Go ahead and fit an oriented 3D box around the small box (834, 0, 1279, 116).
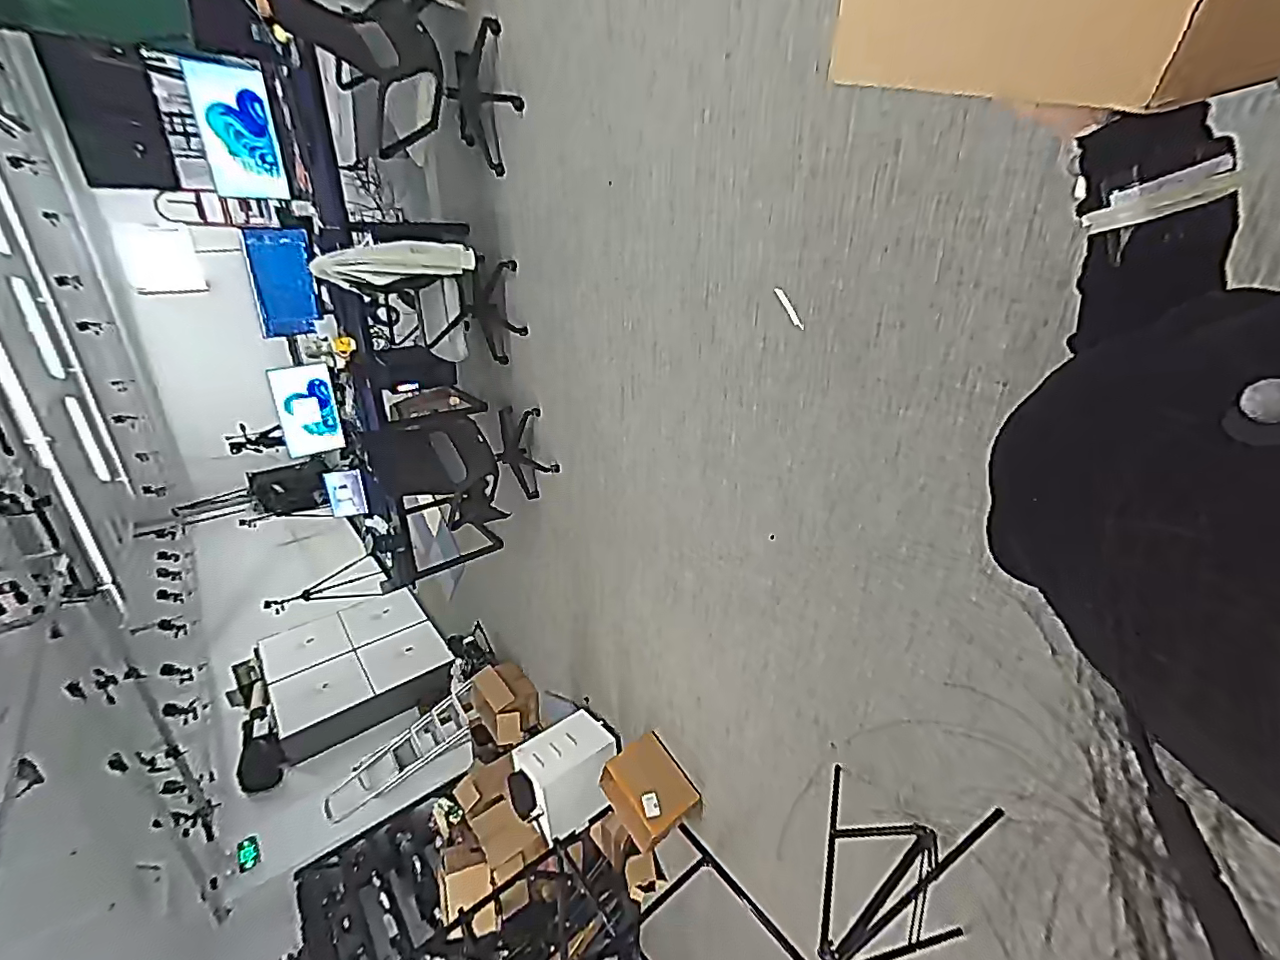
[{"bbox_3d":[0.233,-0.293,0.262,0.179,0.176,0.168,44,148,40],"label":"small box"}]
